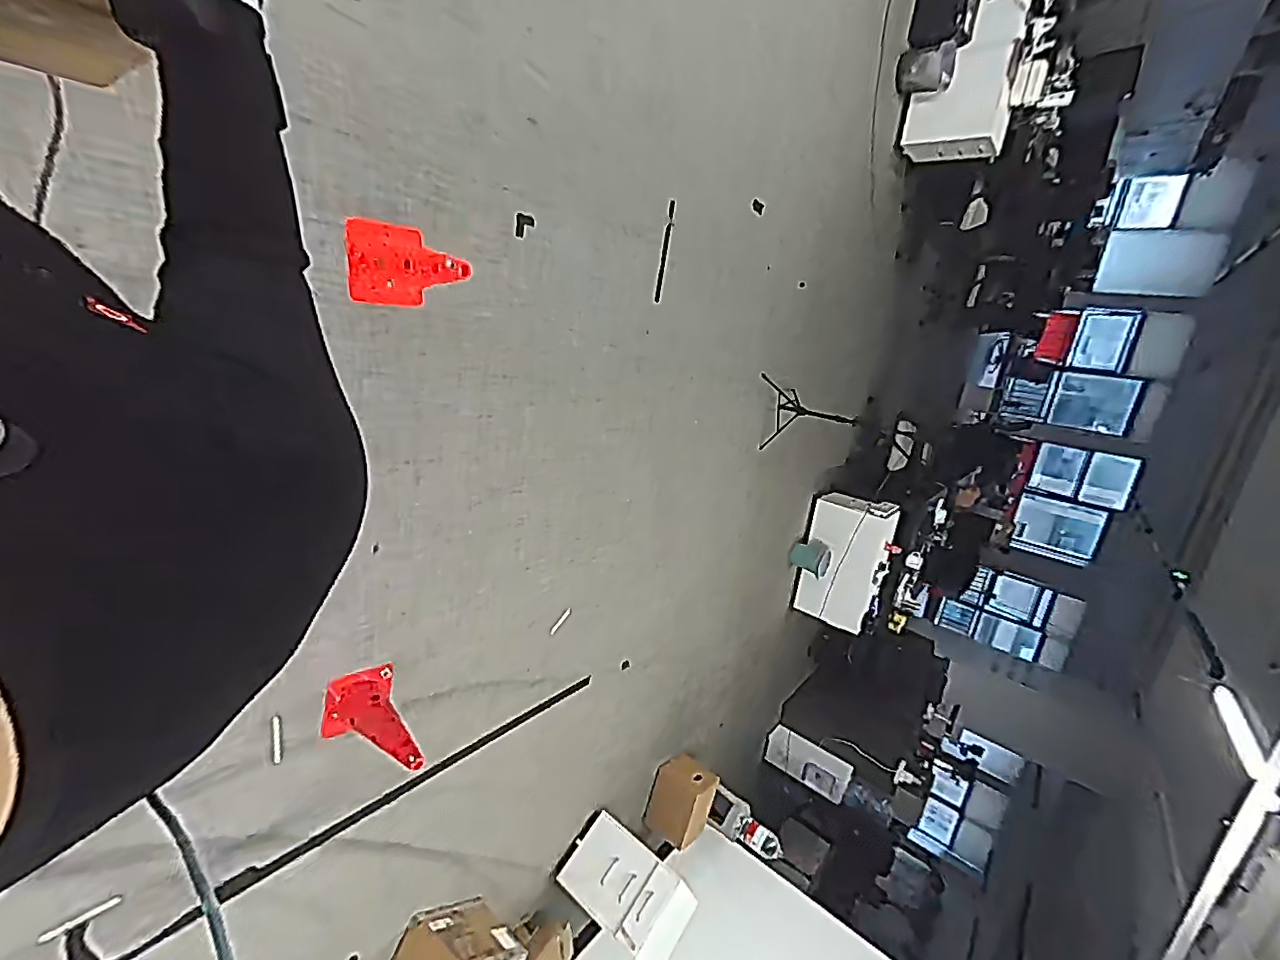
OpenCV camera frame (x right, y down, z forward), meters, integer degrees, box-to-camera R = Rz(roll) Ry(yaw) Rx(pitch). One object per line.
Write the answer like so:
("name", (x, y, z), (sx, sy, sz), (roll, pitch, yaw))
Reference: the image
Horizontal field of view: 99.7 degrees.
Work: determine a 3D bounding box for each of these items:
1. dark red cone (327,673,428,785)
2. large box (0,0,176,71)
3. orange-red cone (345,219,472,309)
("dark red cone", (-0.728, 0.746, 1.564), (0.201, 0.394, 0.202), (-1, 106, -51))
("large box", (-0.546, -0.478, 0.269), (0.408, 0.320, 0.320), (-14, 119, -50))
("orange-red cone", (-0.527, -0.512, 1.301), (0.198, 0.360, 0.199), (-15, 115, -50))
